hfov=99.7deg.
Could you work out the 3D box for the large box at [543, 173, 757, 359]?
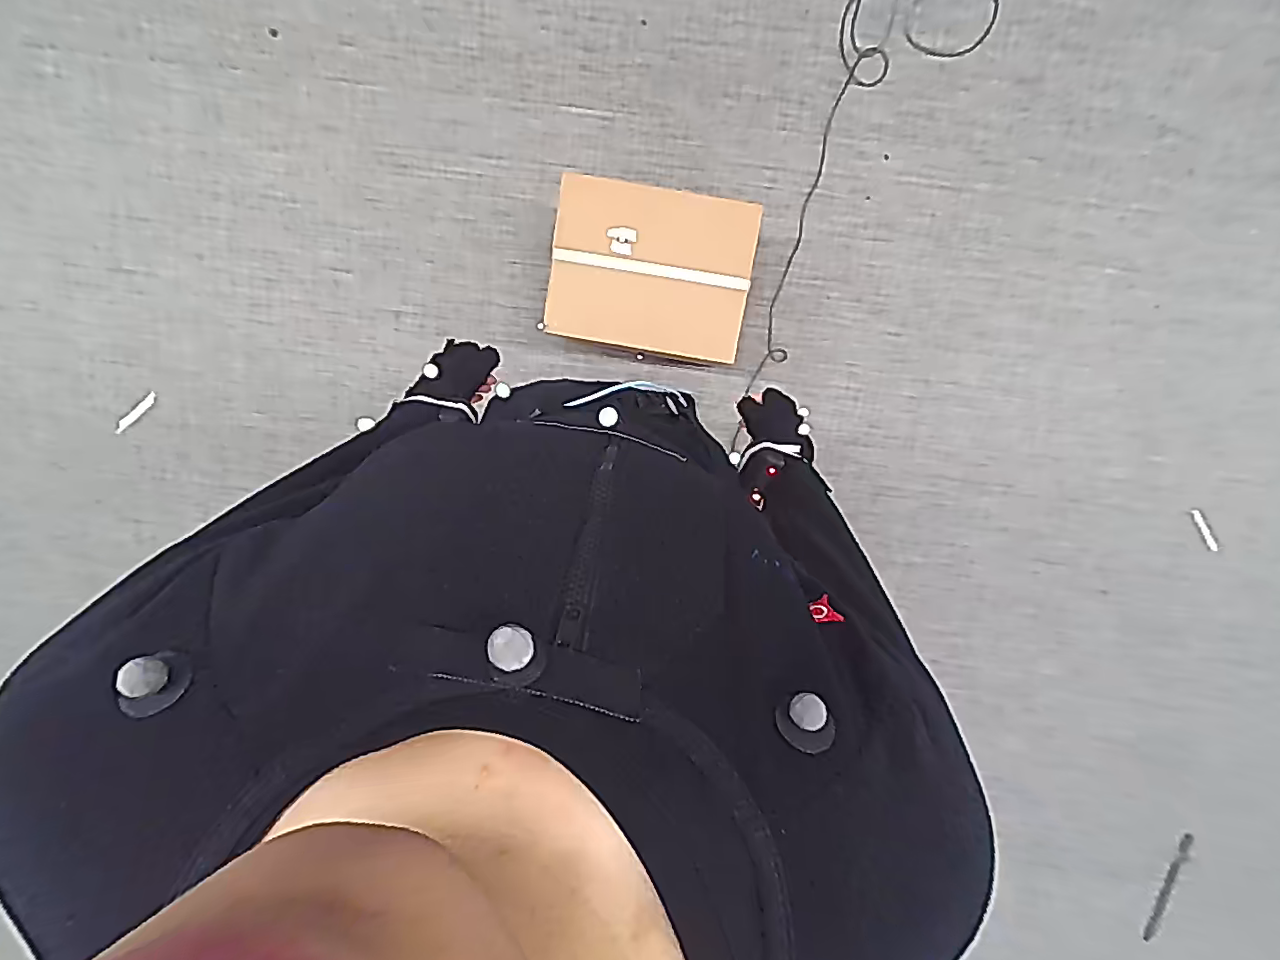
[{"bbox_3d":[0.022,-0.462,1.245,0.408,0.320,0.320,10,101,0],"label":"large box"}]
